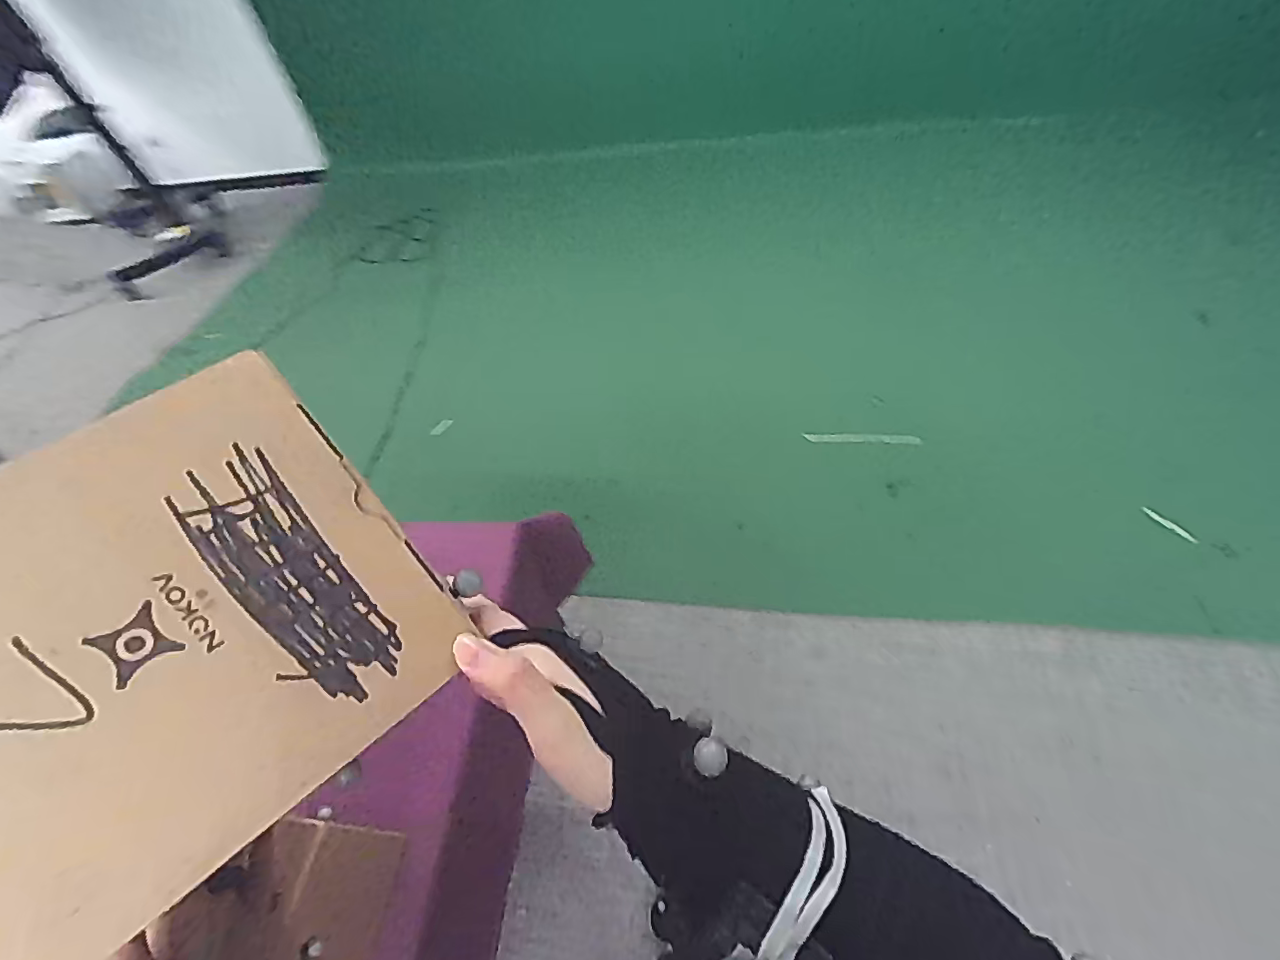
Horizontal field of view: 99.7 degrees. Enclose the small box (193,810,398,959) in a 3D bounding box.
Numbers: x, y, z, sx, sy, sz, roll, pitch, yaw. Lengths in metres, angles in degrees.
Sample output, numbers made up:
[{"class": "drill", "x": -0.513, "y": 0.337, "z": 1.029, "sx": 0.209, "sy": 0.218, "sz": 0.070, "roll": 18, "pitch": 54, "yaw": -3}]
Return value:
[{"class": "small box", "x": -0.381, "y": 0.456, "z": 0.552, "sx": 0.168, "sy": 0.176, "sz": 0.179, "roll": 1, "pitch": 53, "yaw": 9}]
